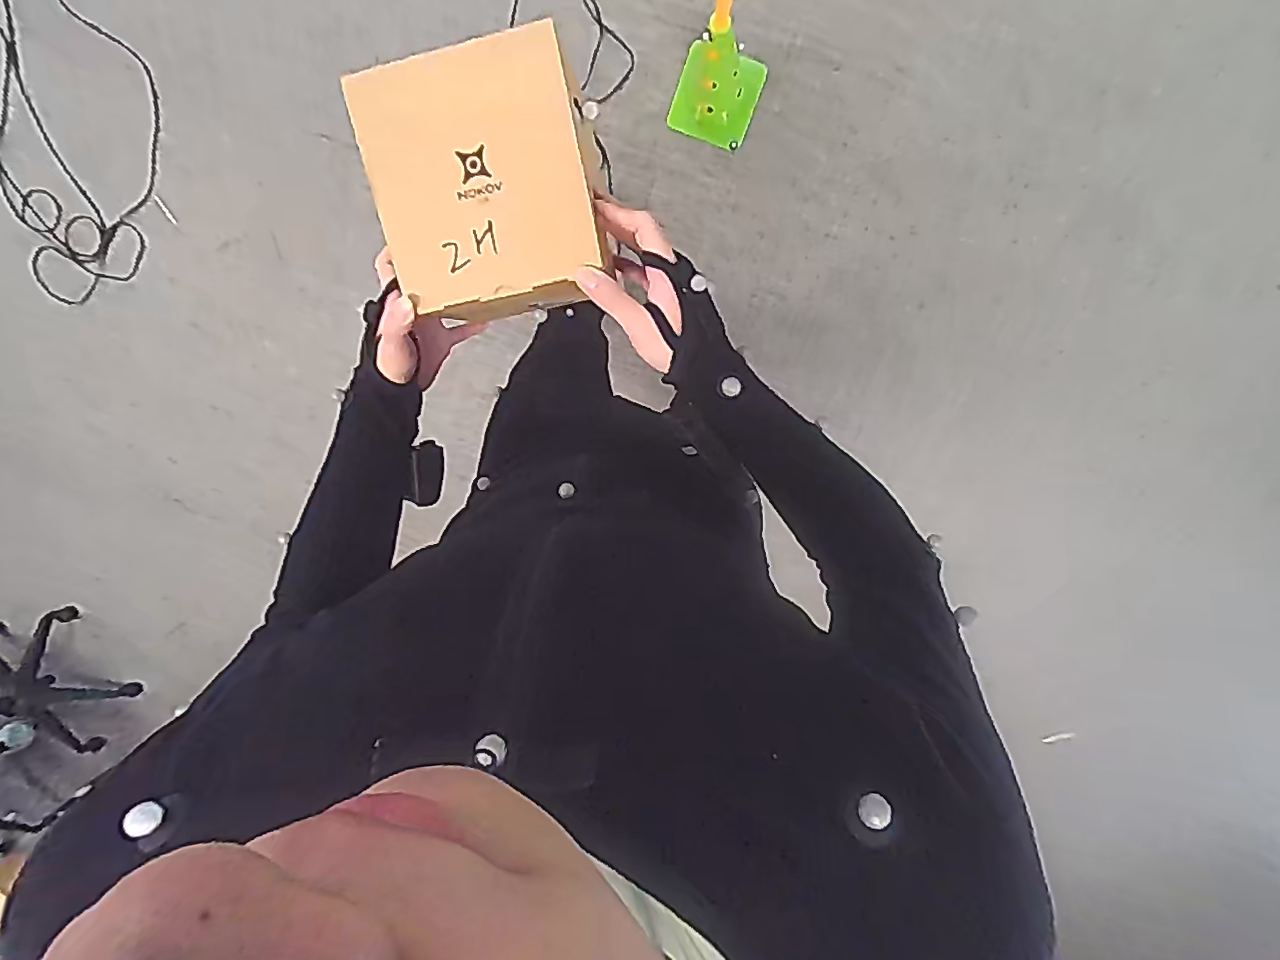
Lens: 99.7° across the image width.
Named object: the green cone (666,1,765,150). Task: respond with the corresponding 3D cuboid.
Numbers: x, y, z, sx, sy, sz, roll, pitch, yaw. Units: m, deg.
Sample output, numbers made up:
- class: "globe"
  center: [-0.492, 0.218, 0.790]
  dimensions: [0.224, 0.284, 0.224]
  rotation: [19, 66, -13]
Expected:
- class: "green cone"
  center: [0.161, -0.901, 1.161]
  dimensions: [0.202, 0.368, 0.200]
  rotation: [21, 106, 2]
